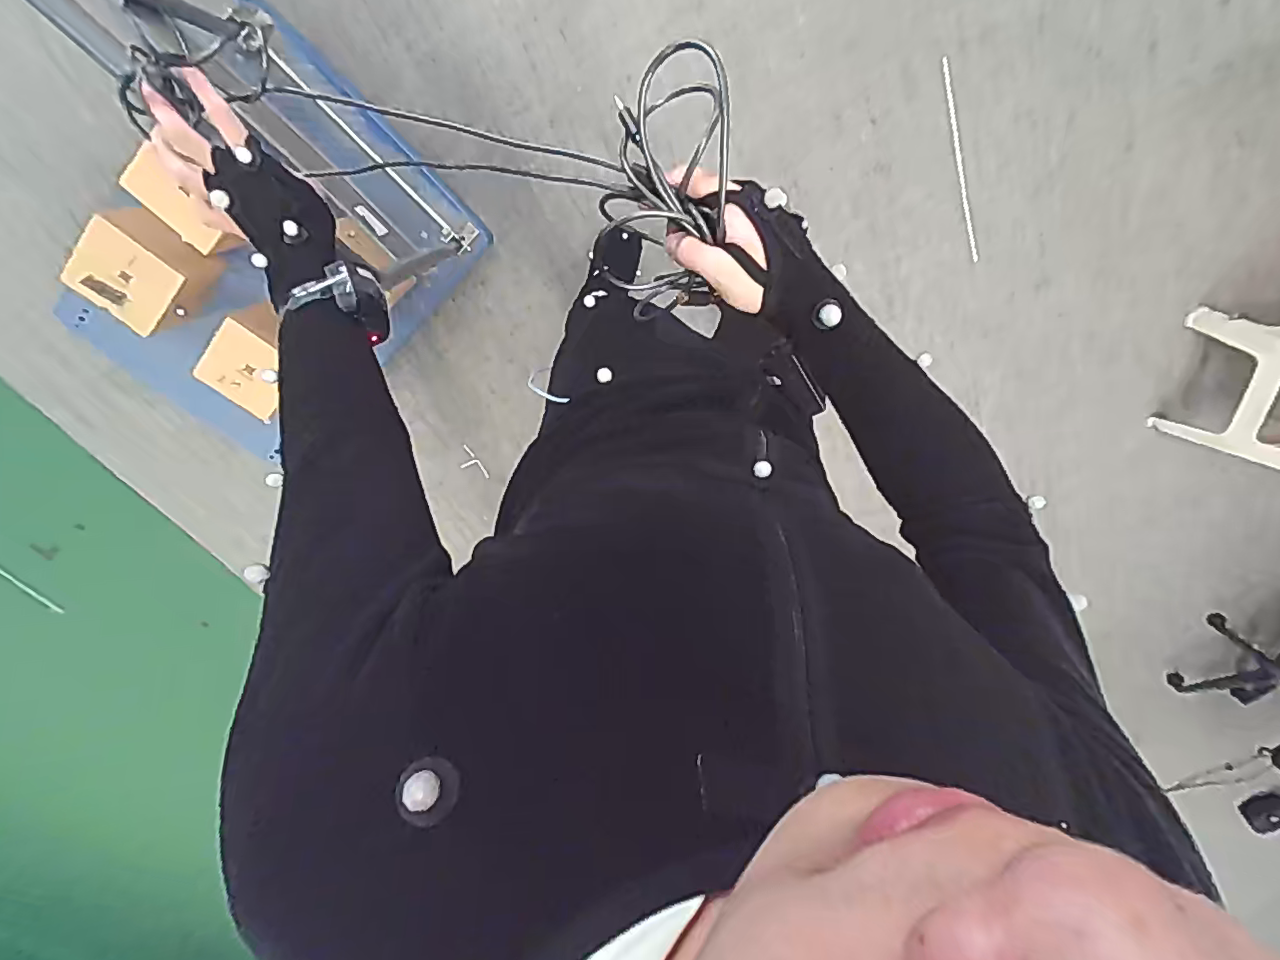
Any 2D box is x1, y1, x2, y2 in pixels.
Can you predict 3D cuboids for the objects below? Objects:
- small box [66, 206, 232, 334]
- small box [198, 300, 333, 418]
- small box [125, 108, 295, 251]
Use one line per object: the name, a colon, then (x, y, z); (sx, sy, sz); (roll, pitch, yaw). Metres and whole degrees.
small box: (-1.011, -0.442, 1.131); (0.179, 0.176, 0.168); (-40, 116, 18)
small box: (-0.842, -0.282, 1.236); (0.168, 0.176, 0.179); (40, 111, -22)
small box: (-0.825, -0.583, 1.058); (0.179, 0.176, 0.168); (-37, 116, 17)
